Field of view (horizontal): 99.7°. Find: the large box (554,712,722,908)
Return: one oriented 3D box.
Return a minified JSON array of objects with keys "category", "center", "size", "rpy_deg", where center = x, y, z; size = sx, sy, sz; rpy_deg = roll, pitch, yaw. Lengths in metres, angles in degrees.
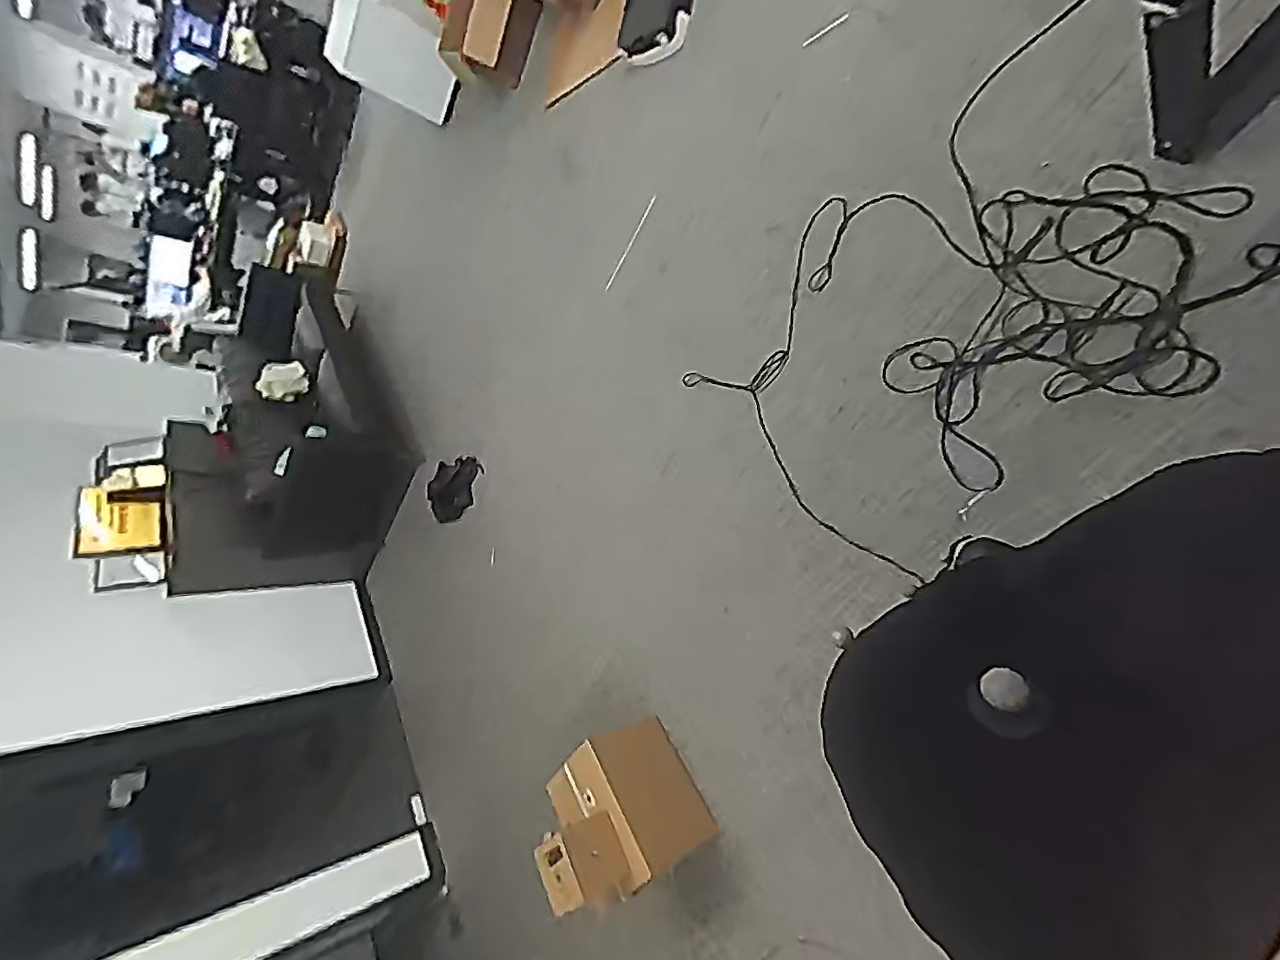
[{"category":"large box","center":[-0.014,1.046,1.754],"size":[0.320,0.320,0.408],"rpy_deg":[-55,51,27]}]
